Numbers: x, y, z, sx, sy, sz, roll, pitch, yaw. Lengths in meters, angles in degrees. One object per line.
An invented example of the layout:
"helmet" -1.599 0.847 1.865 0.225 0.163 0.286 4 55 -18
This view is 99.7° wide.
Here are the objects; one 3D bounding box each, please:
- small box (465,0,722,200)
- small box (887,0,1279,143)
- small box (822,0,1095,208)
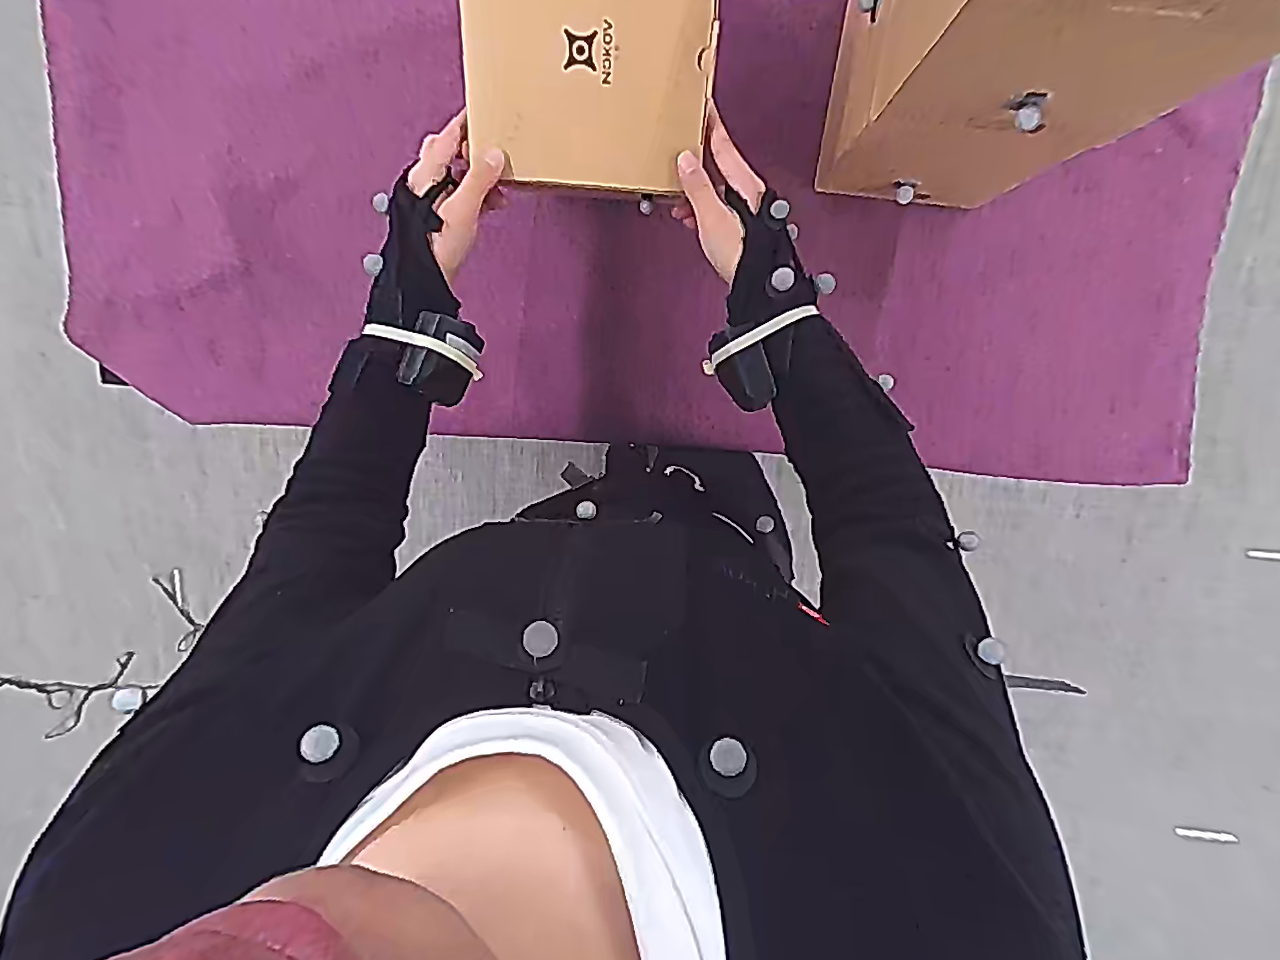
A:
"small box" -0.031 -0.331 0.444 0.179 0.176 0.168 4 114 0
"small box" 0.259 -0.320 0.295 0.168 0.176 0.179 8 103 3
"small box" 0.267 -0.355 0.456 0.168 0.176 0.179 8 103 2
